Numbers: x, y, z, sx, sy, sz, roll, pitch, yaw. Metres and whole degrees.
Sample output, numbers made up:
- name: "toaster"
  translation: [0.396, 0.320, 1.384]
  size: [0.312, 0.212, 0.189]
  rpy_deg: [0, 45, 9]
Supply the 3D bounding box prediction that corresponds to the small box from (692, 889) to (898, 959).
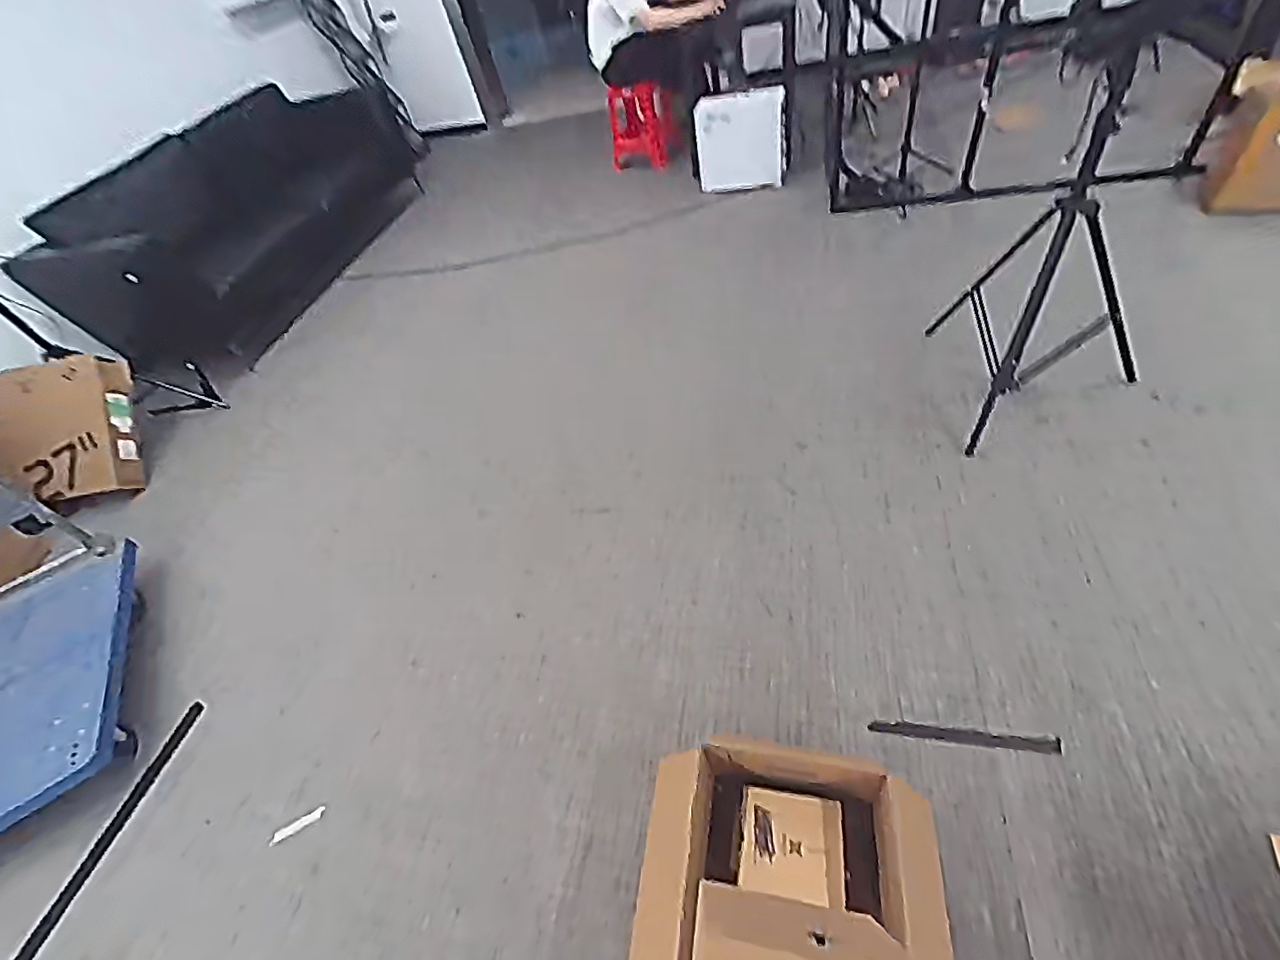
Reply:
- name: "small box"
  translation: [0.128, 0.466, 0.443]
  size: [0.179, 0.176, 0.168]
  rpy_deg: [6, 65, 9]
